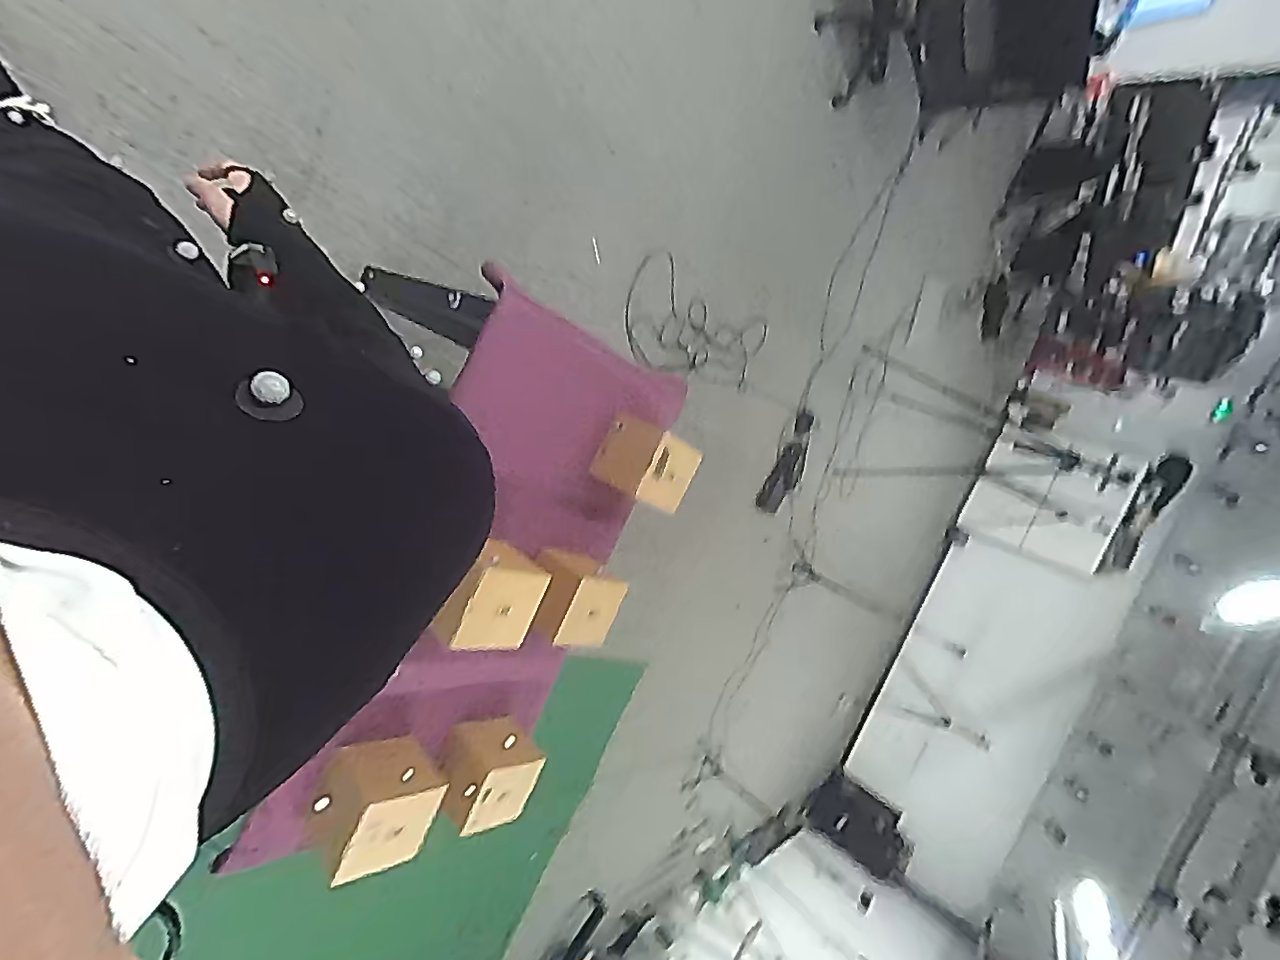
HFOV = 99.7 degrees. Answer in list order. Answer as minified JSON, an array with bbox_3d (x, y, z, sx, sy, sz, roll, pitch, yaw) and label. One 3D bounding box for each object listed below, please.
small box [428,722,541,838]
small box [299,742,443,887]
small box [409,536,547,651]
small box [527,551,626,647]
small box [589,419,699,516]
[{"bbox_3d":[-0.381,0.710,1.308,0.179,0.176,0.168,22,92,-52],"label":"small box"},{"bbox_3d":[-0.542,0.655,1.089,0.179,0.176,0.168,26,89,-52],"label":"small box"},{"bbox_3d":[-0.329,0.228,1.097,0.179,0.176,0.168,22,94,-52],"label":"small box"},{"bbox_3d":[-0.173,0.286,1.307,0.179,0.176,0.168,24,91,-51],"label":"small box"},{"bbox_3d":[0.008,-0.034,1.323,0.179,0.176,0.168,27,90,-51],"label":"small box"}]
